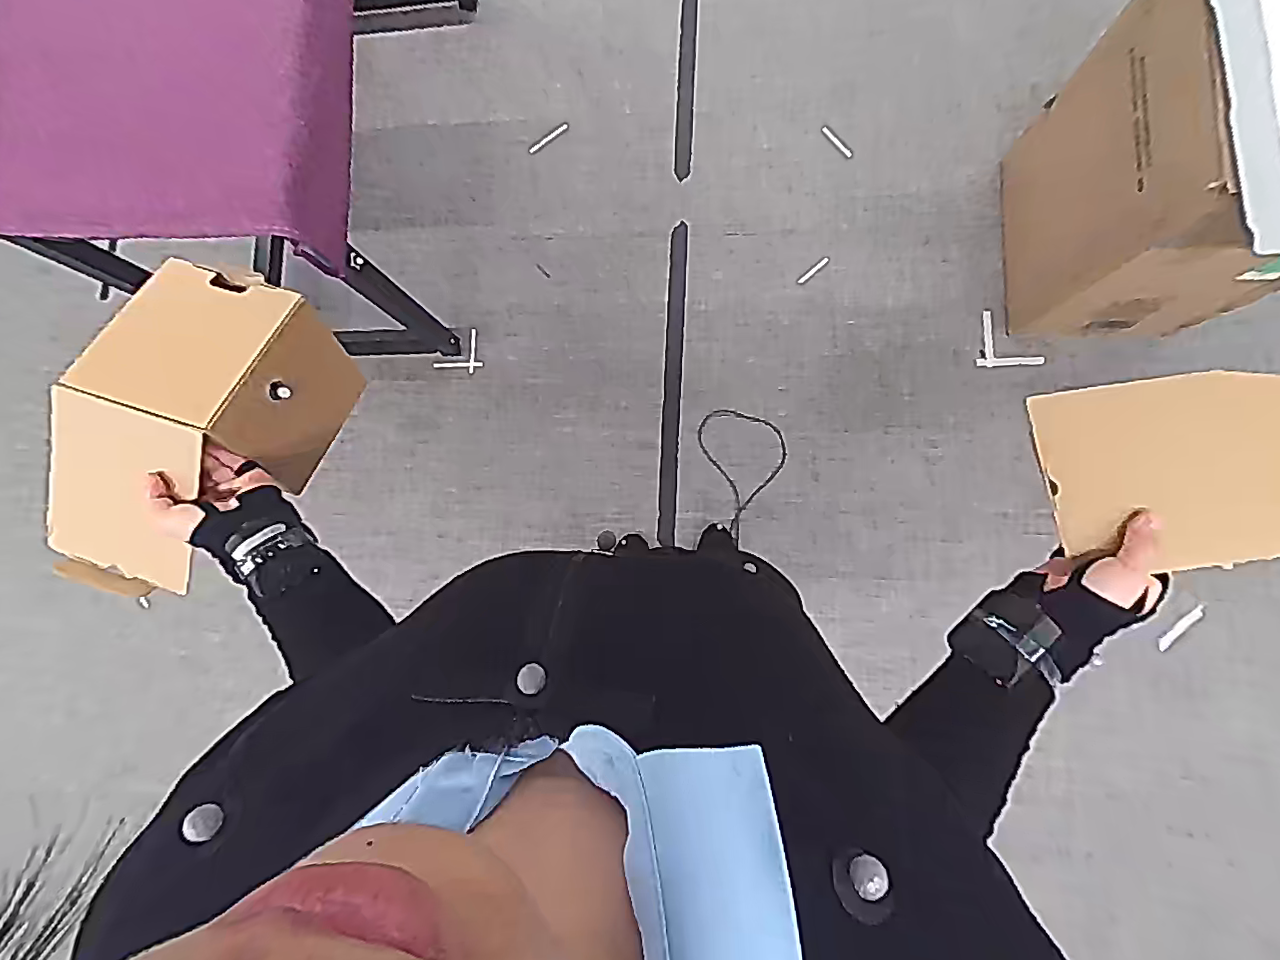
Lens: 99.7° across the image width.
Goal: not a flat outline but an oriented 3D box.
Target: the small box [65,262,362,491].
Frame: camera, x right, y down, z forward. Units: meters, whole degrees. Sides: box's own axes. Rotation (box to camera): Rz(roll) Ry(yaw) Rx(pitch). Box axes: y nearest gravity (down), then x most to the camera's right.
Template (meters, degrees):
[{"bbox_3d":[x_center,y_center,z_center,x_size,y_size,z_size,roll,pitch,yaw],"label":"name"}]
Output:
[{"bbox_3d":[-0.460,-0.109,0.623,0.168,0.176,0.179,17,66,5],"label":"small box"}]
